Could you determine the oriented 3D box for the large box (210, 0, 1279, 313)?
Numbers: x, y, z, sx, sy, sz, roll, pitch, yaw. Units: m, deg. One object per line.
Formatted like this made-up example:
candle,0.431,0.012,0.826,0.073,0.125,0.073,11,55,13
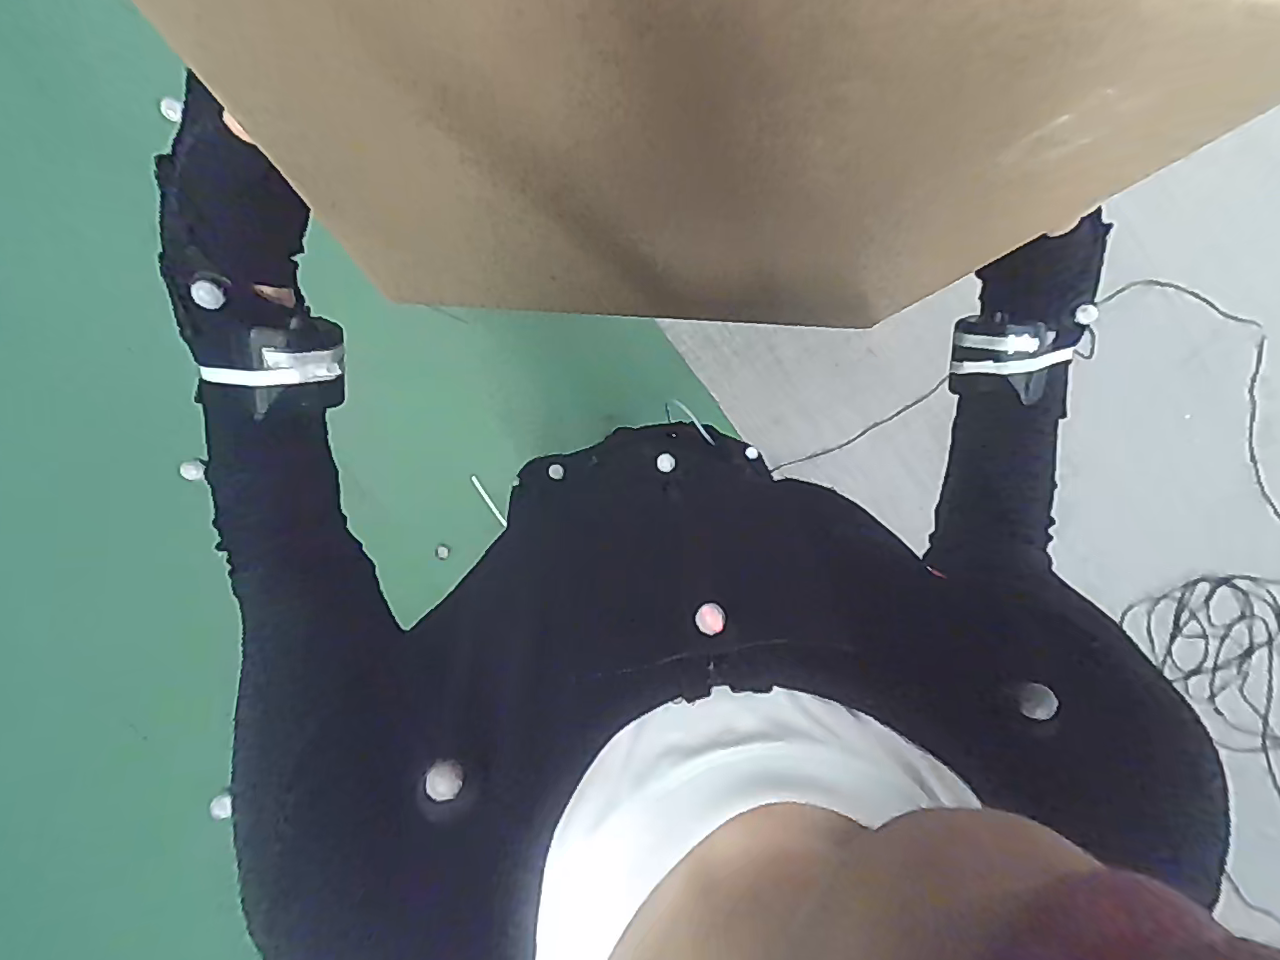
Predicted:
large box,0.034,-0.302,0.303,0.408,0.320,0.320,1,89,-10
